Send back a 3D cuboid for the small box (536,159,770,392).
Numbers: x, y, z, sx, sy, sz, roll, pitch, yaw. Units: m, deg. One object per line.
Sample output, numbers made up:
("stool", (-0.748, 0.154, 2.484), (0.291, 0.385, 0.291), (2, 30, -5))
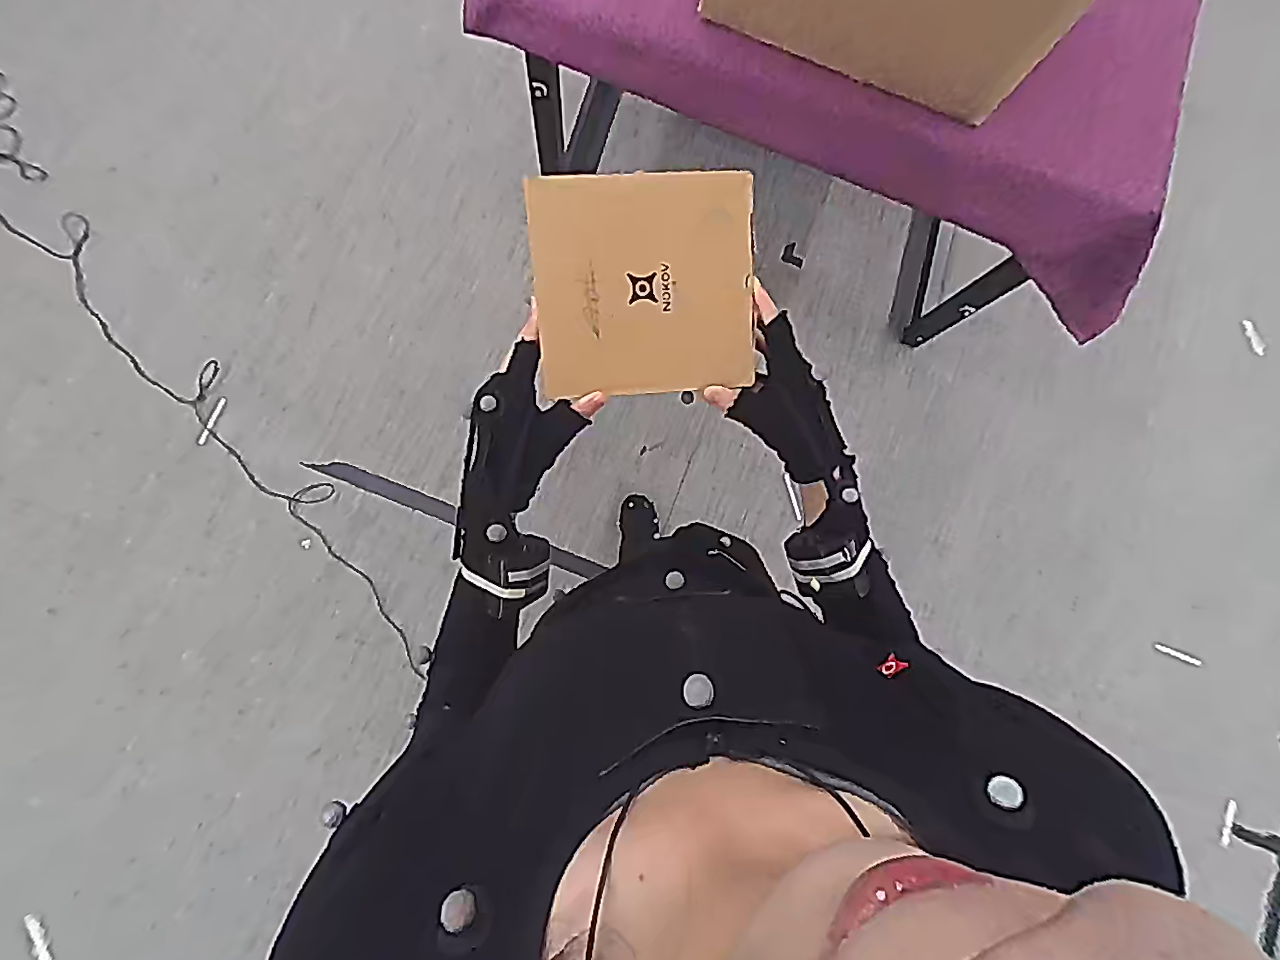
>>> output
("small box", (0.005, -0.171, 0.491), (0.179, 0.176, 0.168), (-5, 101, -5))
